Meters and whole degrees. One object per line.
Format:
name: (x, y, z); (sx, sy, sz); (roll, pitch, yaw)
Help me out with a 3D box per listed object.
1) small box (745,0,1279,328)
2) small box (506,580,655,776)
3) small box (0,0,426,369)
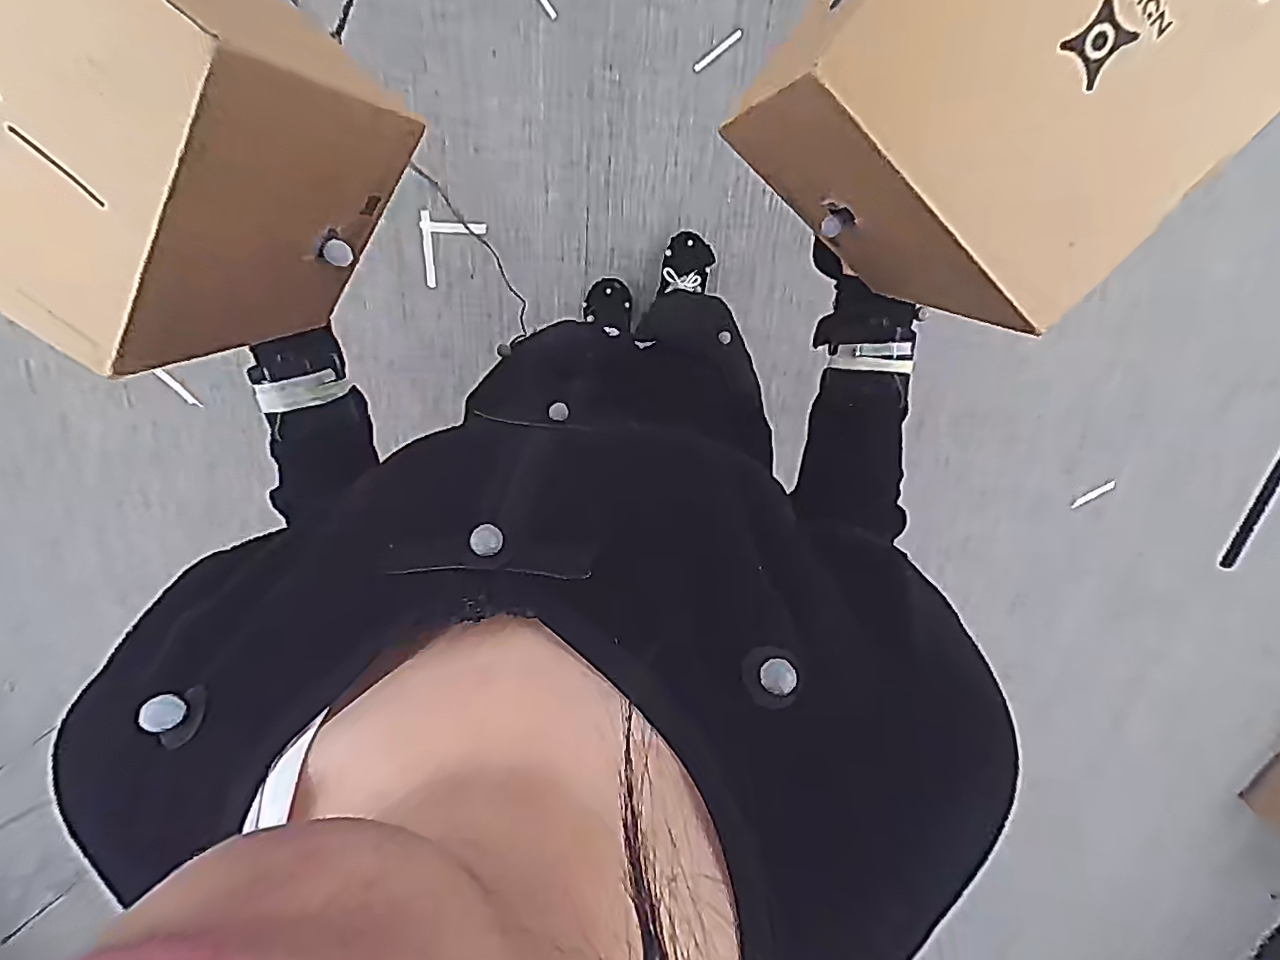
small box: (0.175, -0.211, 0.280); (0.168, 0.176, 0.179); (34, 108, -21)
small box: (-0.075, 0.253, 0.714); (0.168, 0.176, 0.179); (6, 113, -3)
small box: (-0.253, -0.189, 0.280); (0.179, 0.176, 0.168); (38, 114, -12)
